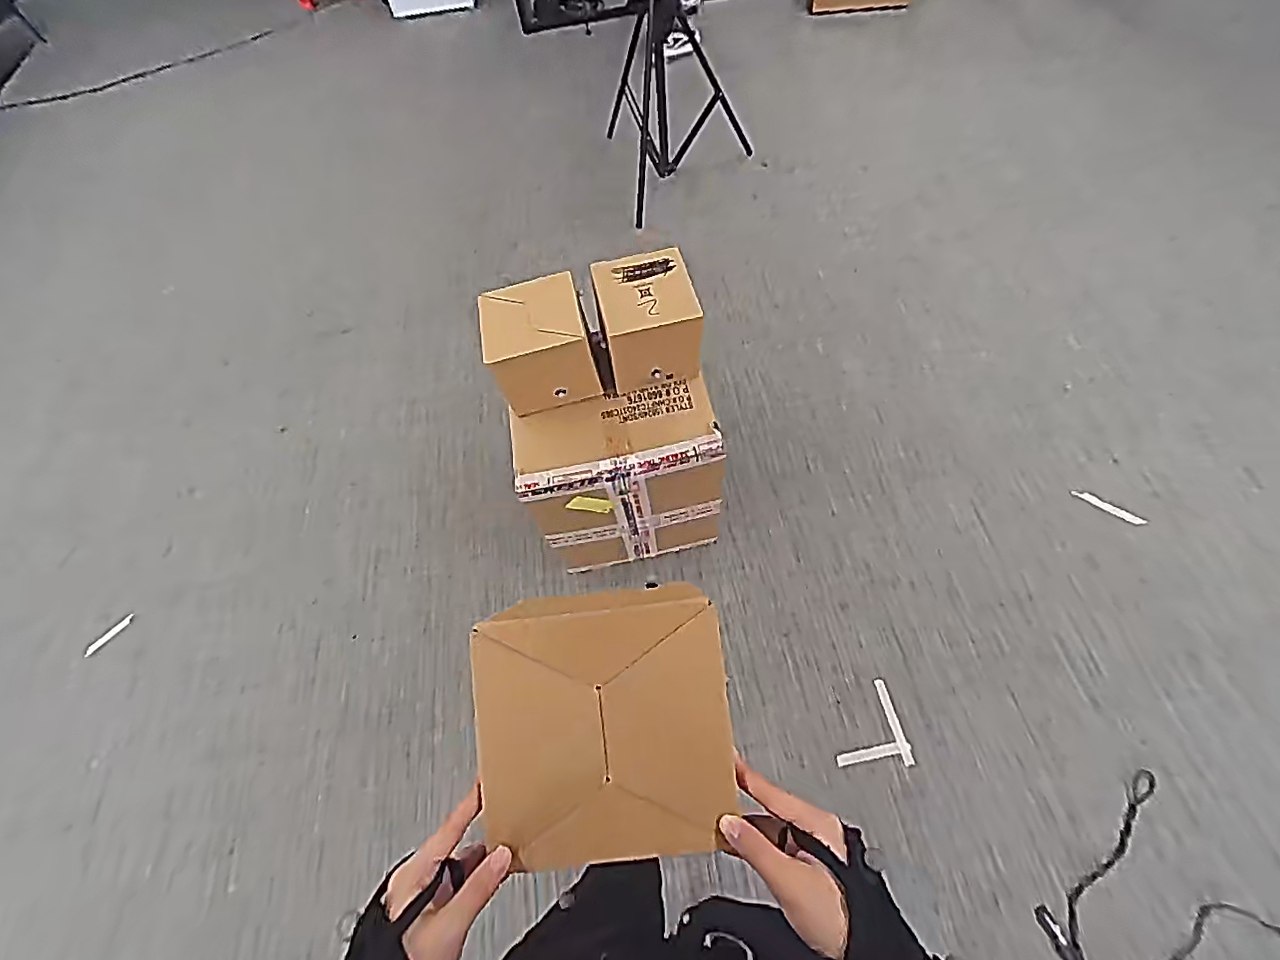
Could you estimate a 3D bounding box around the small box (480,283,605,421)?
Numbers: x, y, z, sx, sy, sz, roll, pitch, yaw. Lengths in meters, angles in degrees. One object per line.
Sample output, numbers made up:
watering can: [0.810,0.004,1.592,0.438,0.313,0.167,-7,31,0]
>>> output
small box: [-0.178,-0.239,1.011,0.179,0.176,0.168,-14,62,1]

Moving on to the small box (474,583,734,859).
small box: [-0.029,0.184,0.457,0.179,0.176,0.168,-6,84,0]
